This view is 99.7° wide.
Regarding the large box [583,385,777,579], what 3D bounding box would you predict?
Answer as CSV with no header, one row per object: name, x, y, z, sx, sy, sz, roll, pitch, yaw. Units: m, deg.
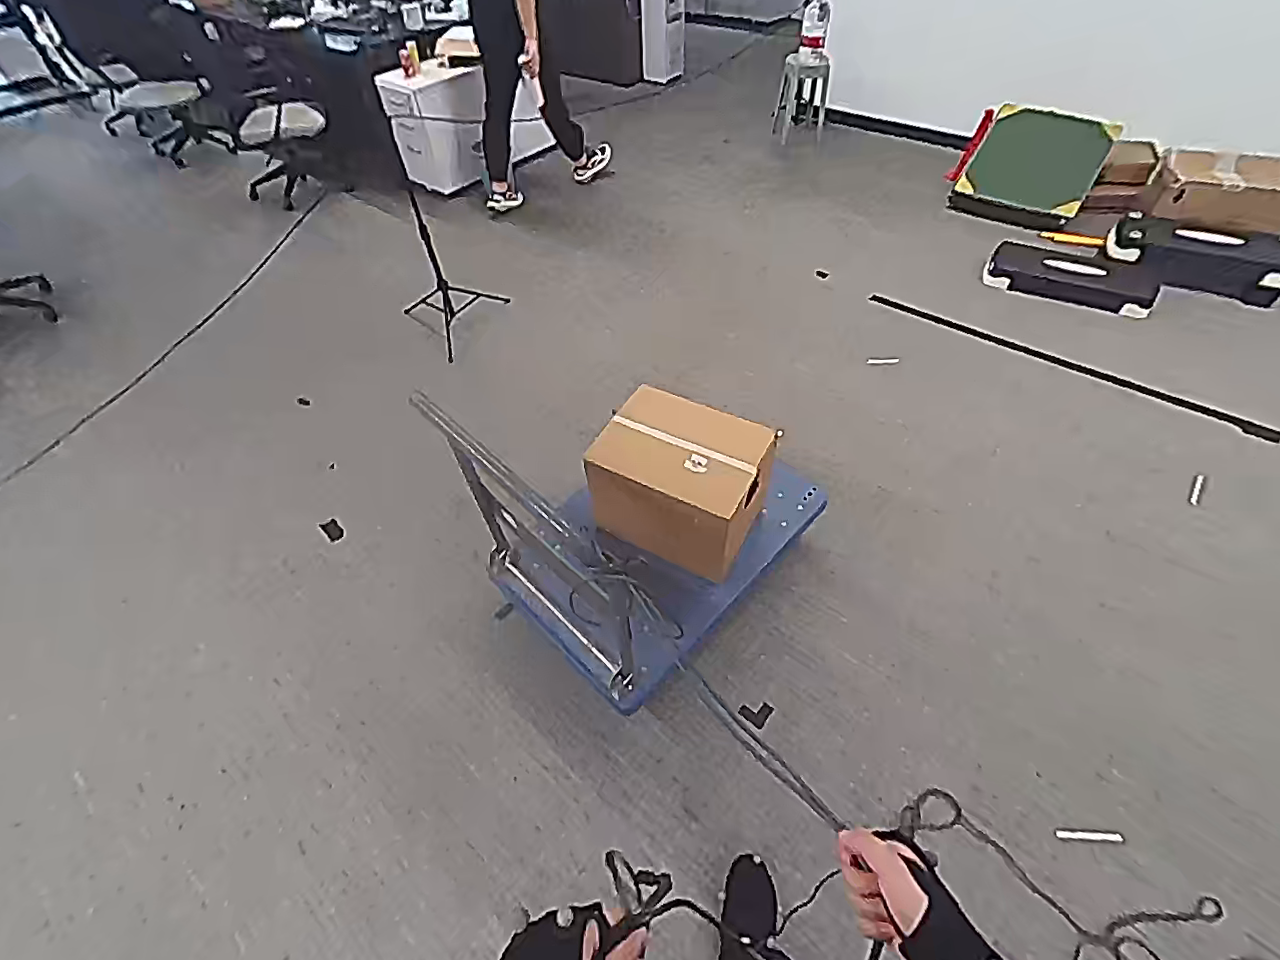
large box,0.104,0.002,1.467,0.408,0.320,0.320,23,57,19
